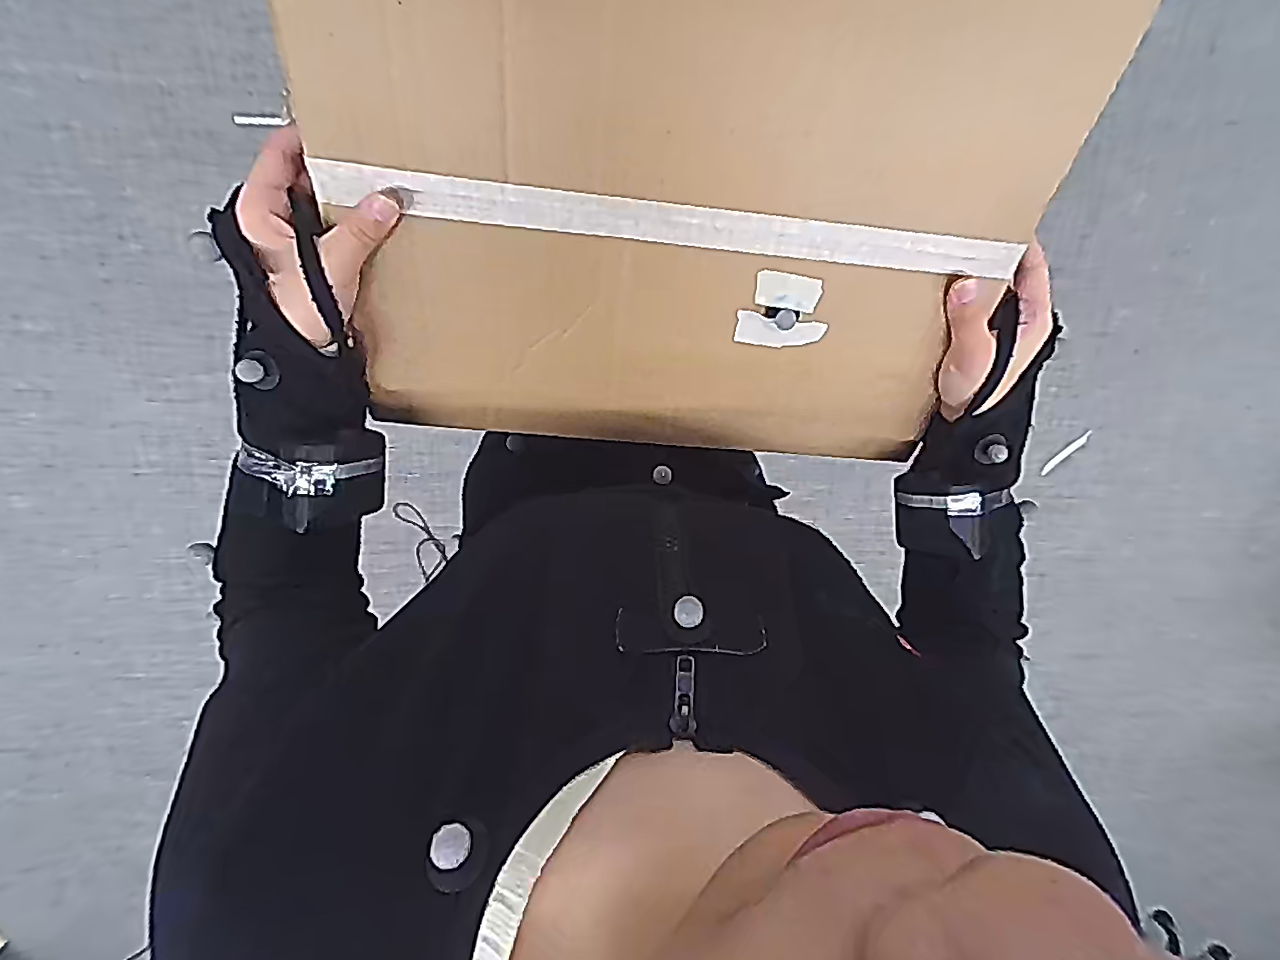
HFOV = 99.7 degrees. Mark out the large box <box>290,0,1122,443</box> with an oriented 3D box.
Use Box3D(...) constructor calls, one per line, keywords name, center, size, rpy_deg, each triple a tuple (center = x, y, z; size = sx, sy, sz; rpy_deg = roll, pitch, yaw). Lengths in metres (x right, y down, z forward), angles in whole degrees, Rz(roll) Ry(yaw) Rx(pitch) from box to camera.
Box3D(name="large box", center=(0.017, -0.248, 0.433), size=(0.408, 0.320, 0.320), rpy_deg=(3, 131, -7))
